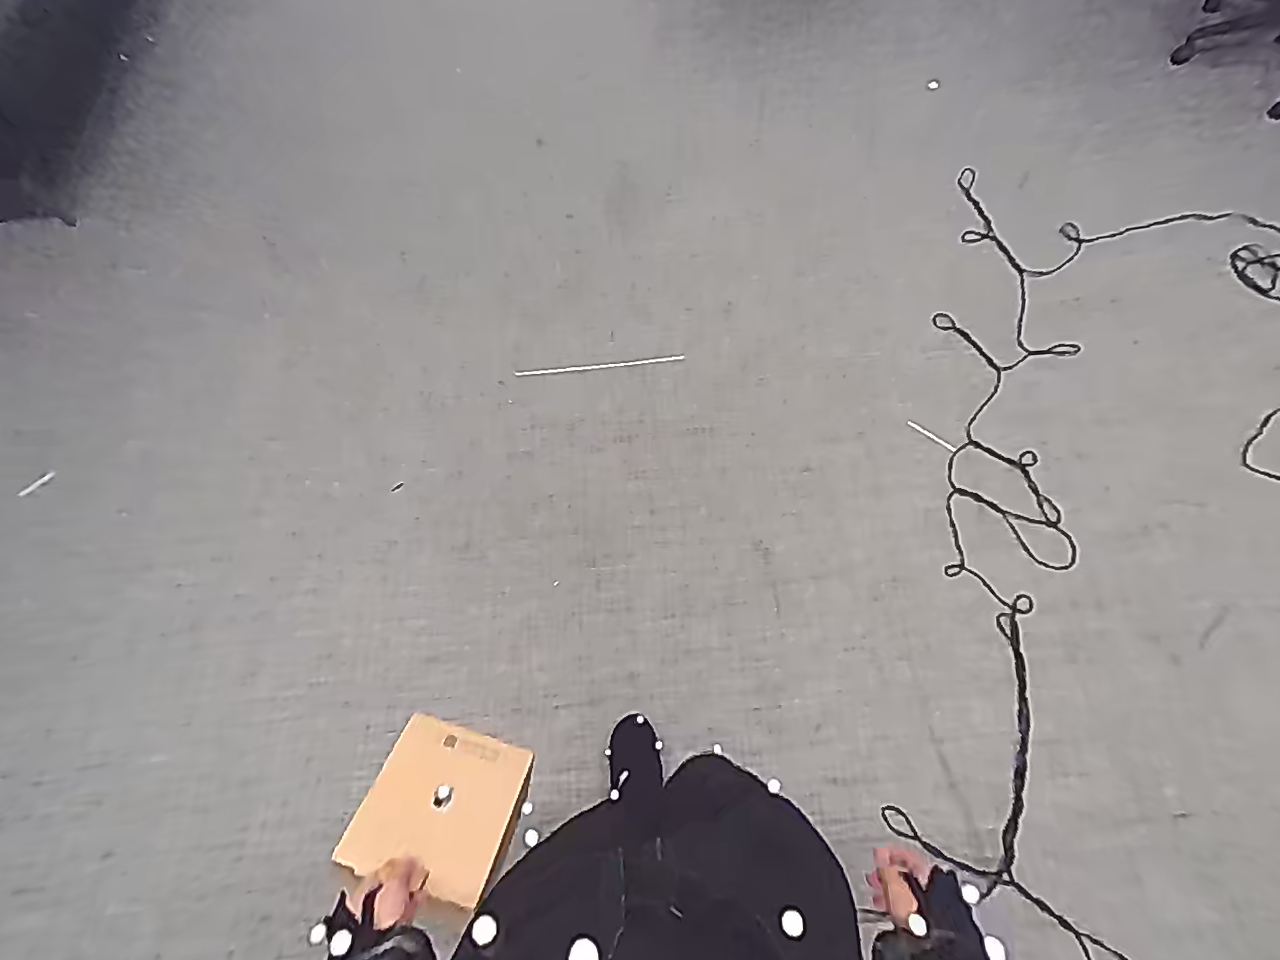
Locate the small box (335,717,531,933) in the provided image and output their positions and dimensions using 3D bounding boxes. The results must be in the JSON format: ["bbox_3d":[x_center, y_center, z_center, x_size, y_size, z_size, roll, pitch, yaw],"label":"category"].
[{"bbox_3d":[-0.246,0.429,0.681,0.168,0.179,0.176,17,41,1],"label":"small box"}]
